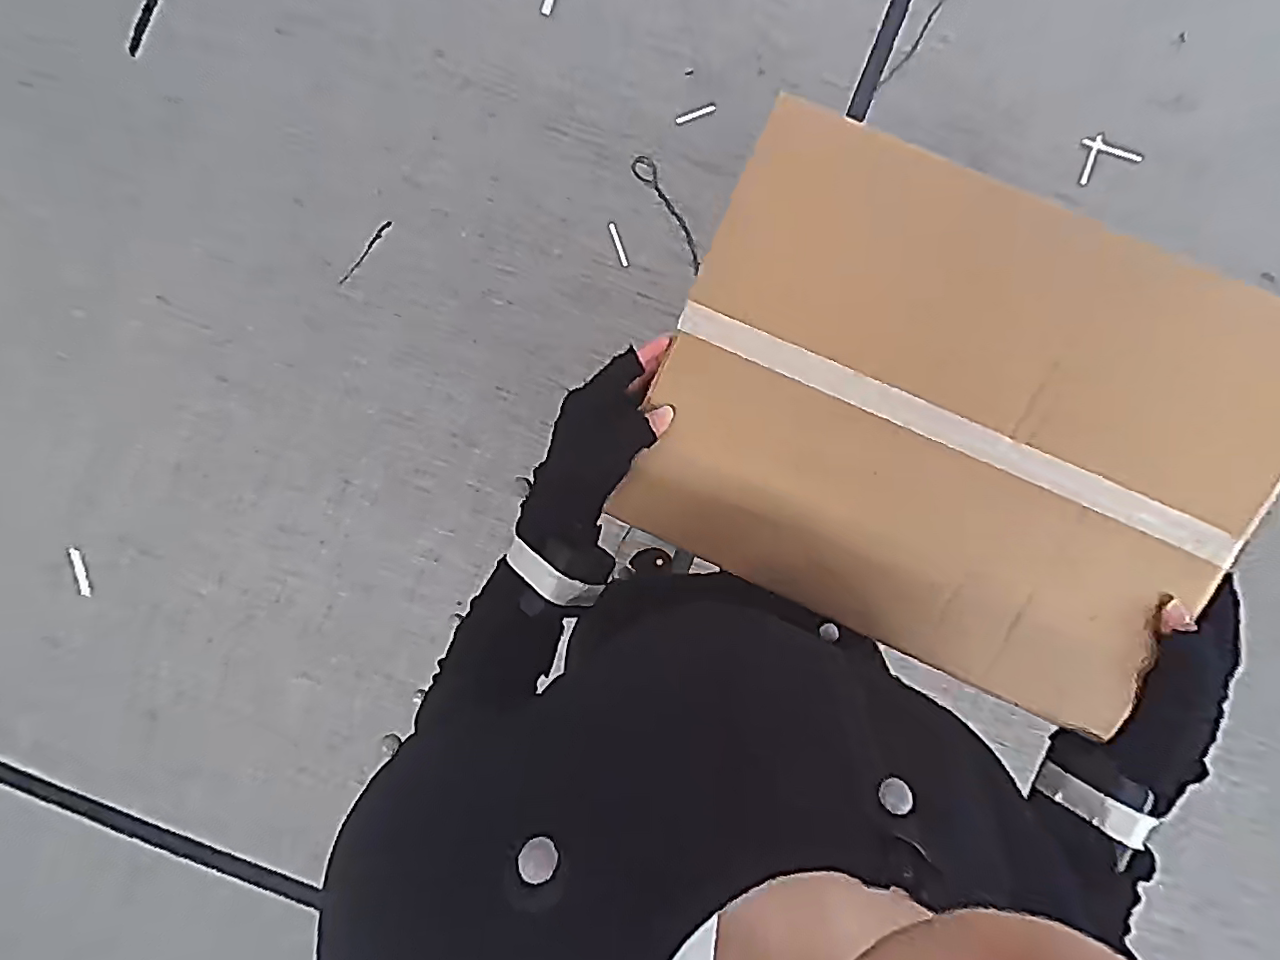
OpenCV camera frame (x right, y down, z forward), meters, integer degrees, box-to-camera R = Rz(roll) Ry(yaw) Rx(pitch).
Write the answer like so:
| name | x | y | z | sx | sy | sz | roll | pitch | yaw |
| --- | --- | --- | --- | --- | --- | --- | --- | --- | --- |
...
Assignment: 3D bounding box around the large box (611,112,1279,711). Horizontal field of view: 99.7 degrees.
| name | x | y | z | sx | sy | sz | roll | pitch | yaw |
| --- | --- | --- | --- | --- | --- | --- | --- | --- | --- |
| large box | 0.228 | -0.061 | 0.535 | 0.408 | 0.320 | 0.320 | 25 | 101 | 3 |
